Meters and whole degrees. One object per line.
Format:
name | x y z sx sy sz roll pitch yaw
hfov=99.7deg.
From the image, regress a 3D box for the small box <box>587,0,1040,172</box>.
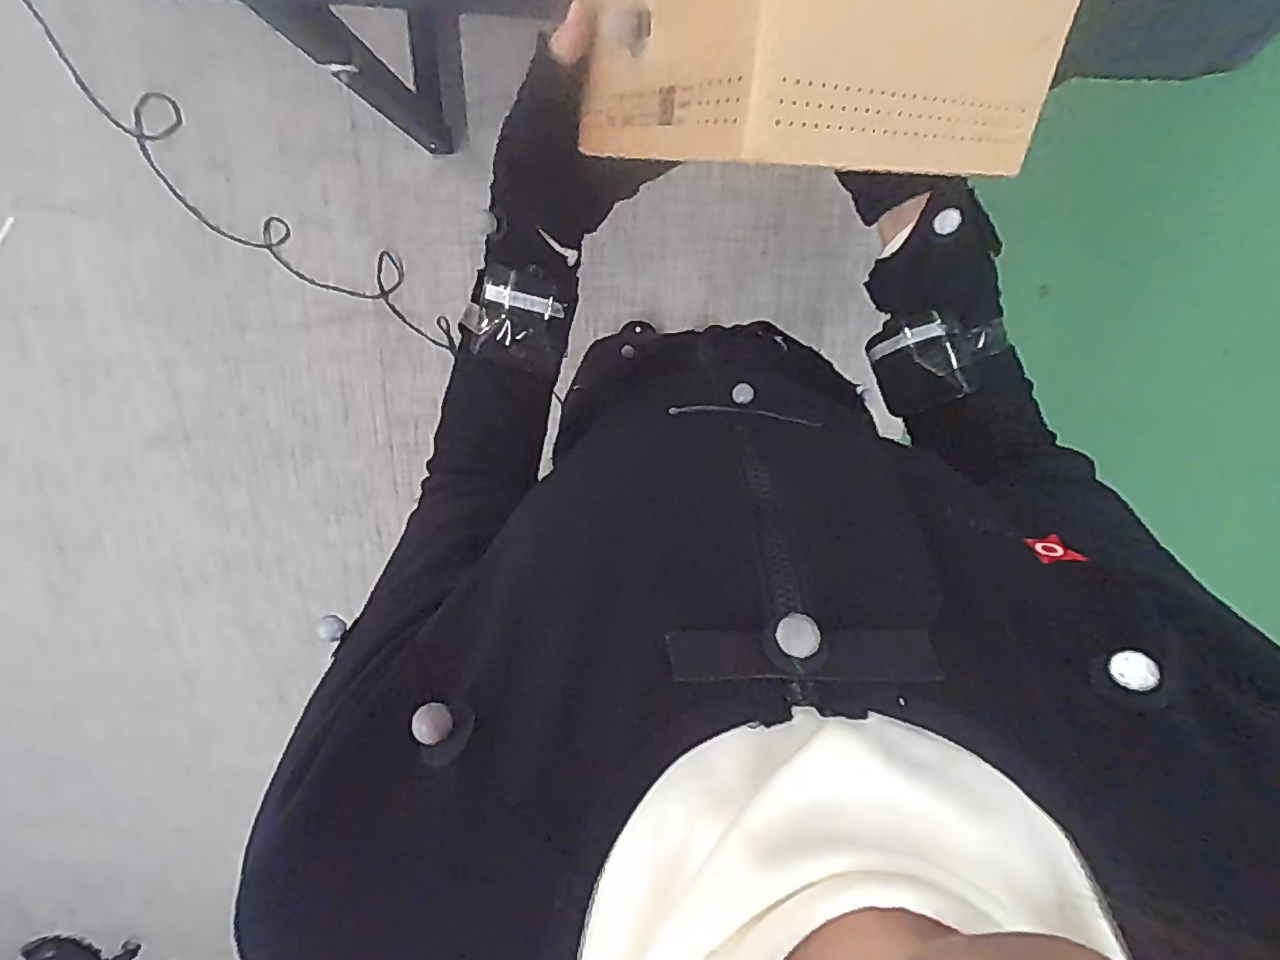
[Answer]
small box | 0.079 -0.255 0.267 0.179 0.168 0.176 -14 125 -24
